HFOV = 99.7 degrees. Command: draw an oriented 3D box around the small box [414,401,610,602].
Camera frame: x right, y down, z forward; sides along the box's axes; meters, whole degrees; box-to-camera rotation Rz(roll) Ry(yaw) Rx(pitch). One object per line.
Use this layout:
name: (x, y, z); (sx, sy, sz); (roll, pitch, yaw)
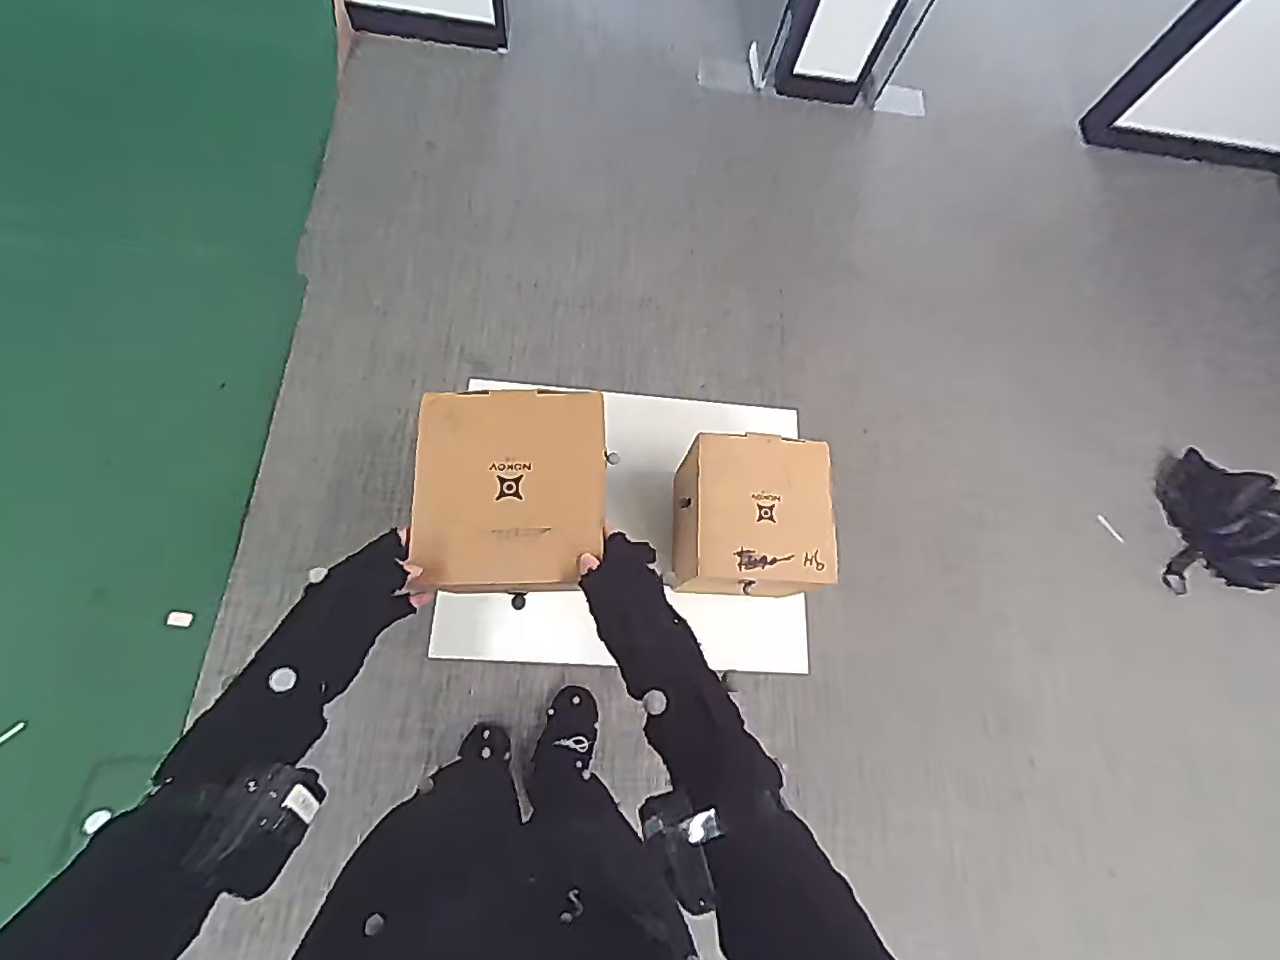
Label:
small box: (-0.117, 0.032, 0.561); (0.168, 0.176, 0.179); (-3, 76, -2)

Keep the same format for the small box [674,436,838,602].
small box: (0.139, 0.060, 0.707); (0.168, 0.176, 0.179); (4, 73, -5)
